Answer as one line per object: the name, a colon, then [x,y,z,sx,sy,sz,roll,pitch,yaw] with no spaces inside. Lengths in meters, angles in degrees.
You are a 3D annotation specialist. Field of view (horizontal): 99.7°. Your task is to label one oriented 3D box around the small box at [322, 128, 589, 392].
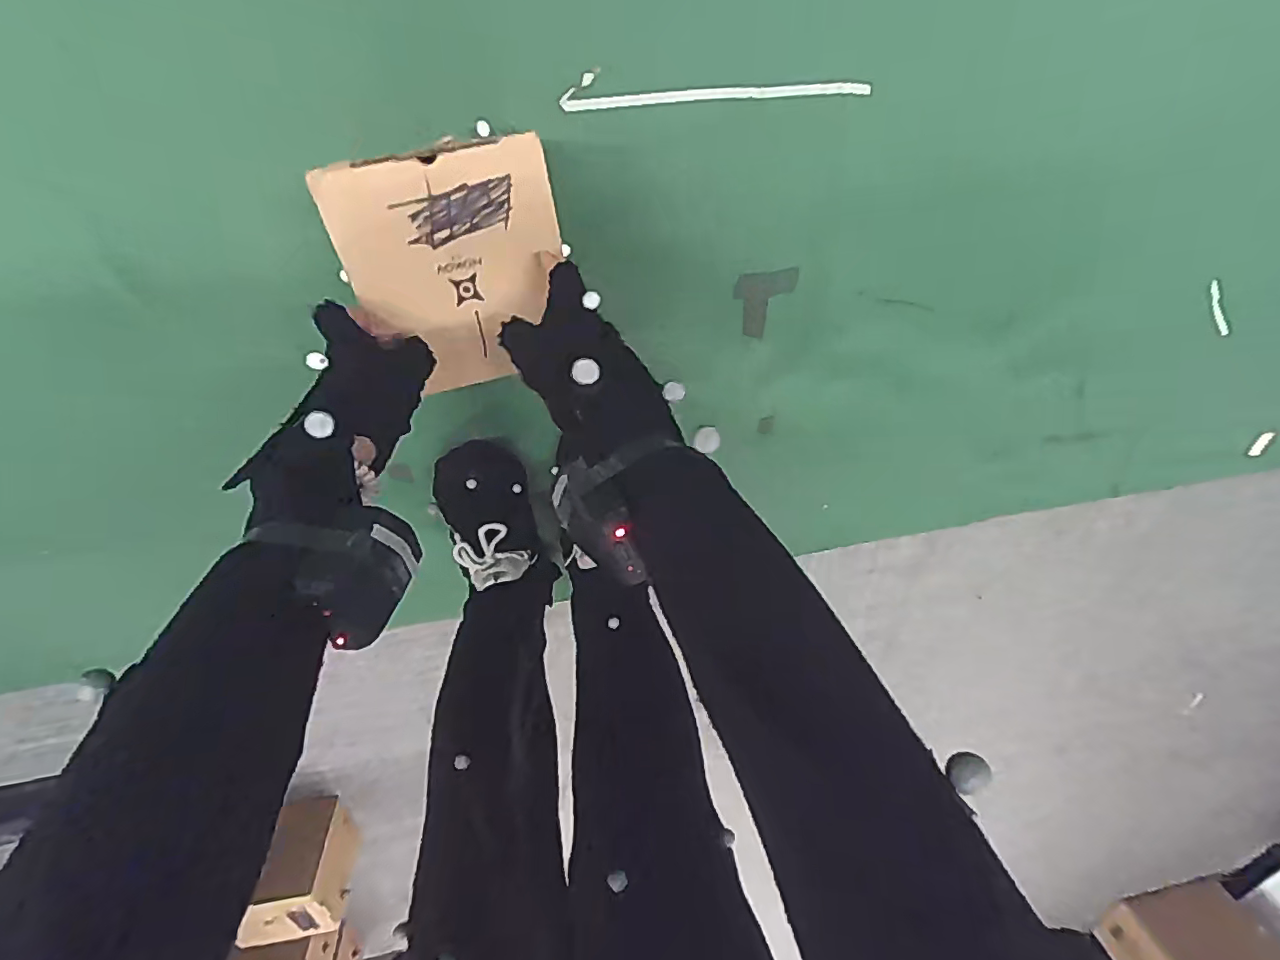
small box: [-0.155,-0.206,0.493,0.168,0.176,0.179,-15,126,-8]
